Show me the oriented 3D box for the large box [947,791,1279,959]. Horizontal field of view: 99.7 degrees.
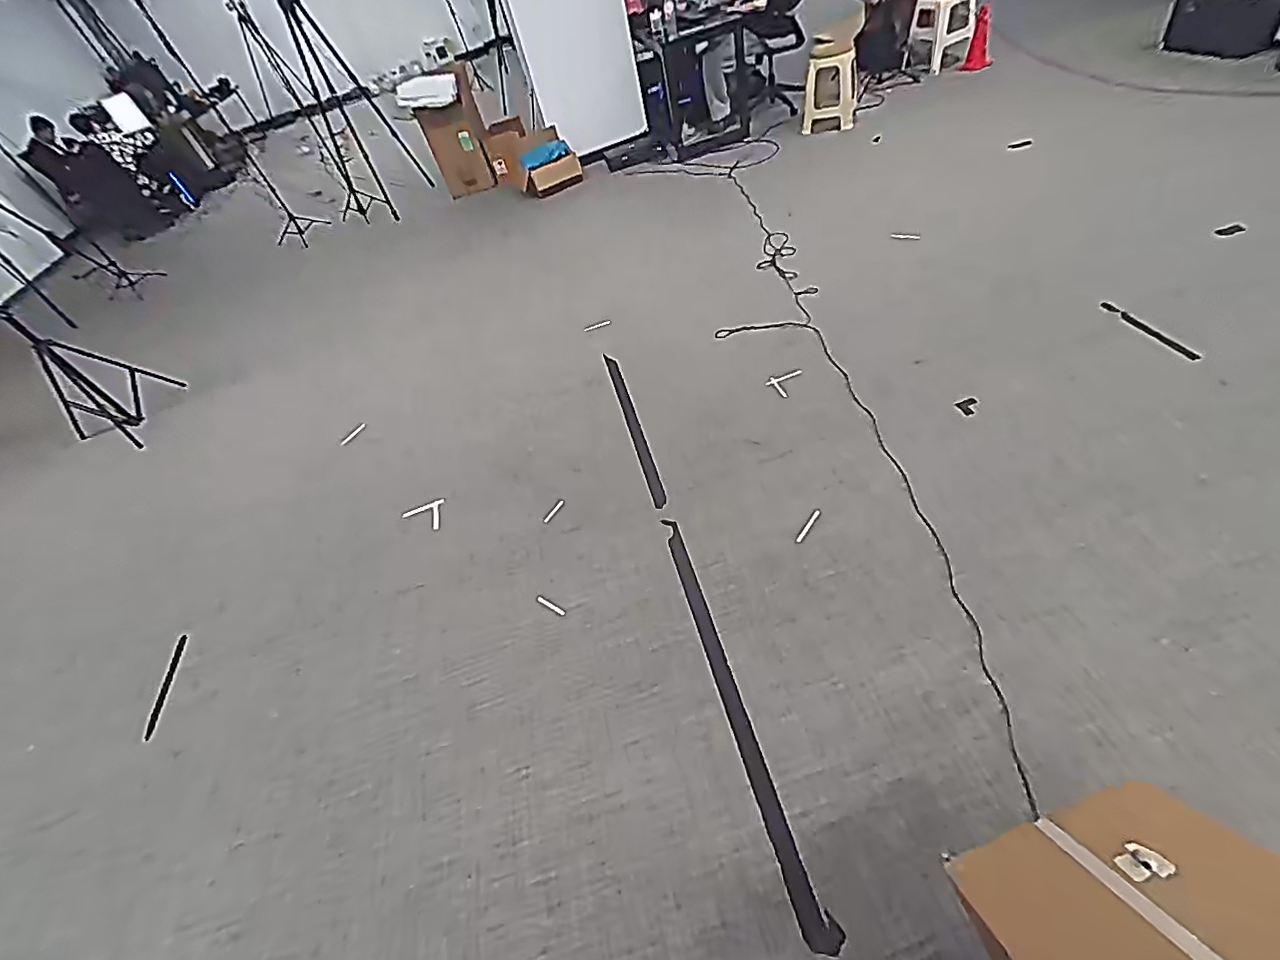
[{"bbox_3d":[0.641,0.633,0.583,0.320,0.408,0.320,-24,82,2],"label":"large box"}]
